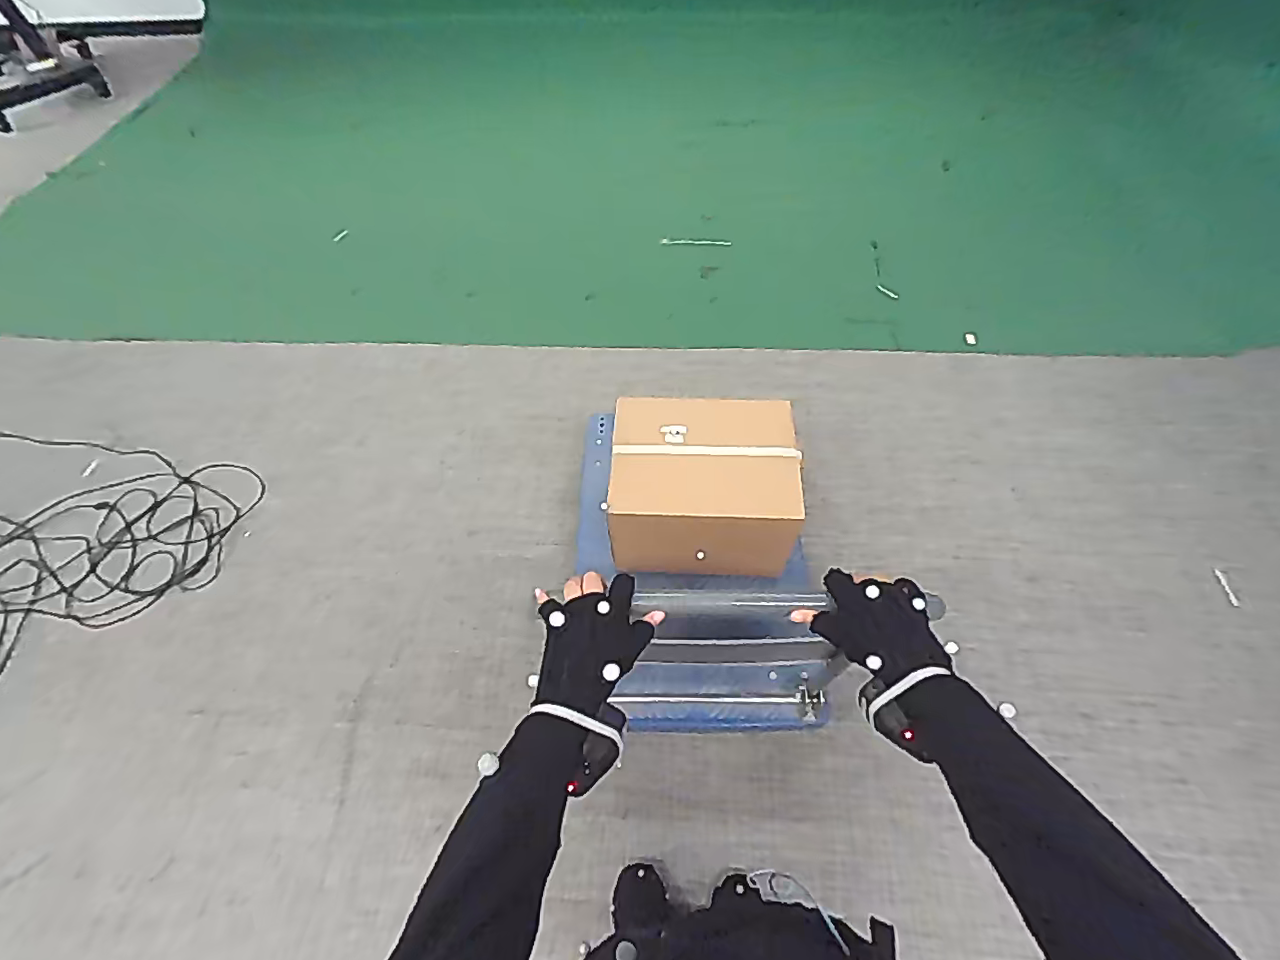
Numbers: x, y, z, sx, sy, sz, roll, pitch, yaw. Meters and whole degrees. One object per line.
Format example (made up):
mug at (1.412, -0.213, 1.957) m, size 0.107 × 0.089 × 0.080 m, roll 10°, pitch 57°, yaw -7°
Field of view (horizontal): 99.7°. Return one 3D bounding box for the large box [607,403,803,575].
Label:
large box at (0.145, 0.029, 1.300) m, size 0.408 × 0.320 × 0.320 m, roll 1°, pitch 58°, yaw 4°
